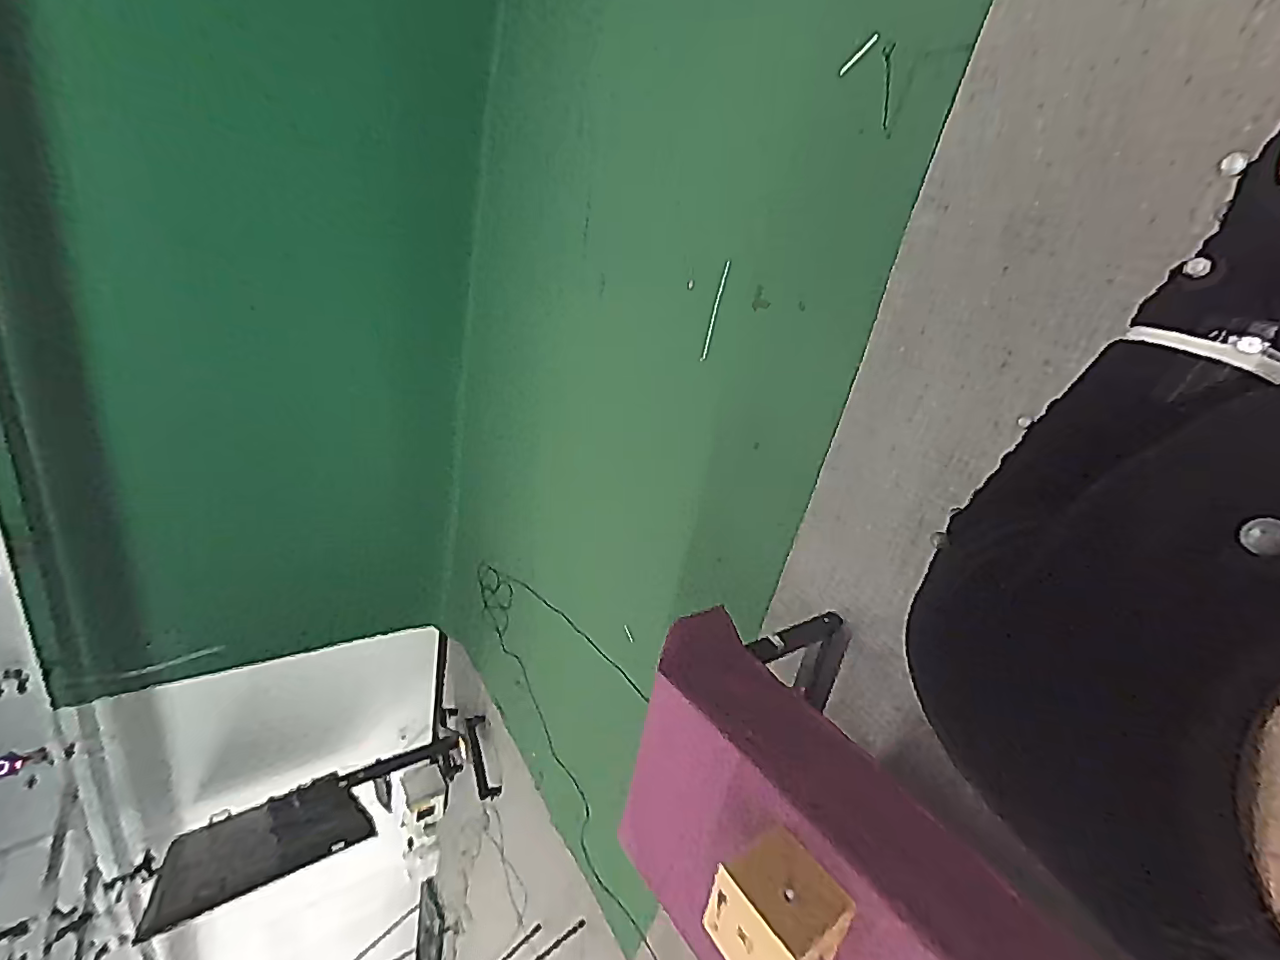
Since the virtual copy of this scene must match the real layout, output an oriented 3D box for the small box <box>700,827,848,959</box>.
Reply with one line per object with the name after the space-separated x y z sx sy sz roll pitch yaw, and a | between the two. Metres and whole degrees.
0.240 0.775 0.967 0.179 0.176 0.168 31 118 46 | small box
